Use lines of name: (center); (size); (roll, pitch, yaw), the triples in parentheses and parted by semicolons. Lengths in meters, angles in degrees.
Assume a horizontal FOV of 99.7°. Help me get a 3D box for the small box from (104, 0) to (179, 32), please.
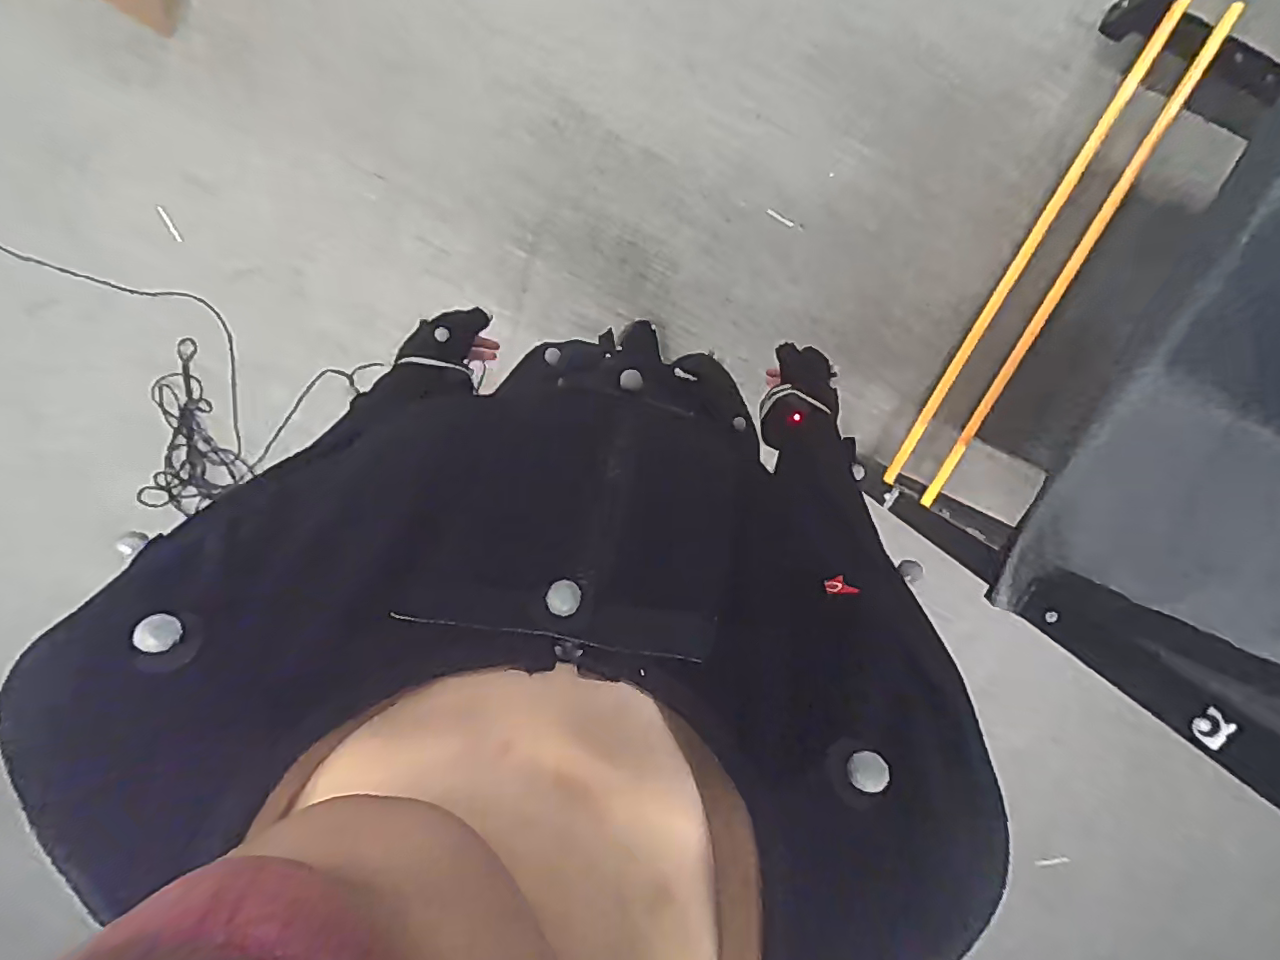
small box: (-1.141, -1.124, 1.160); (0.179, 0.176, 0.168); (28, 105, -5)
